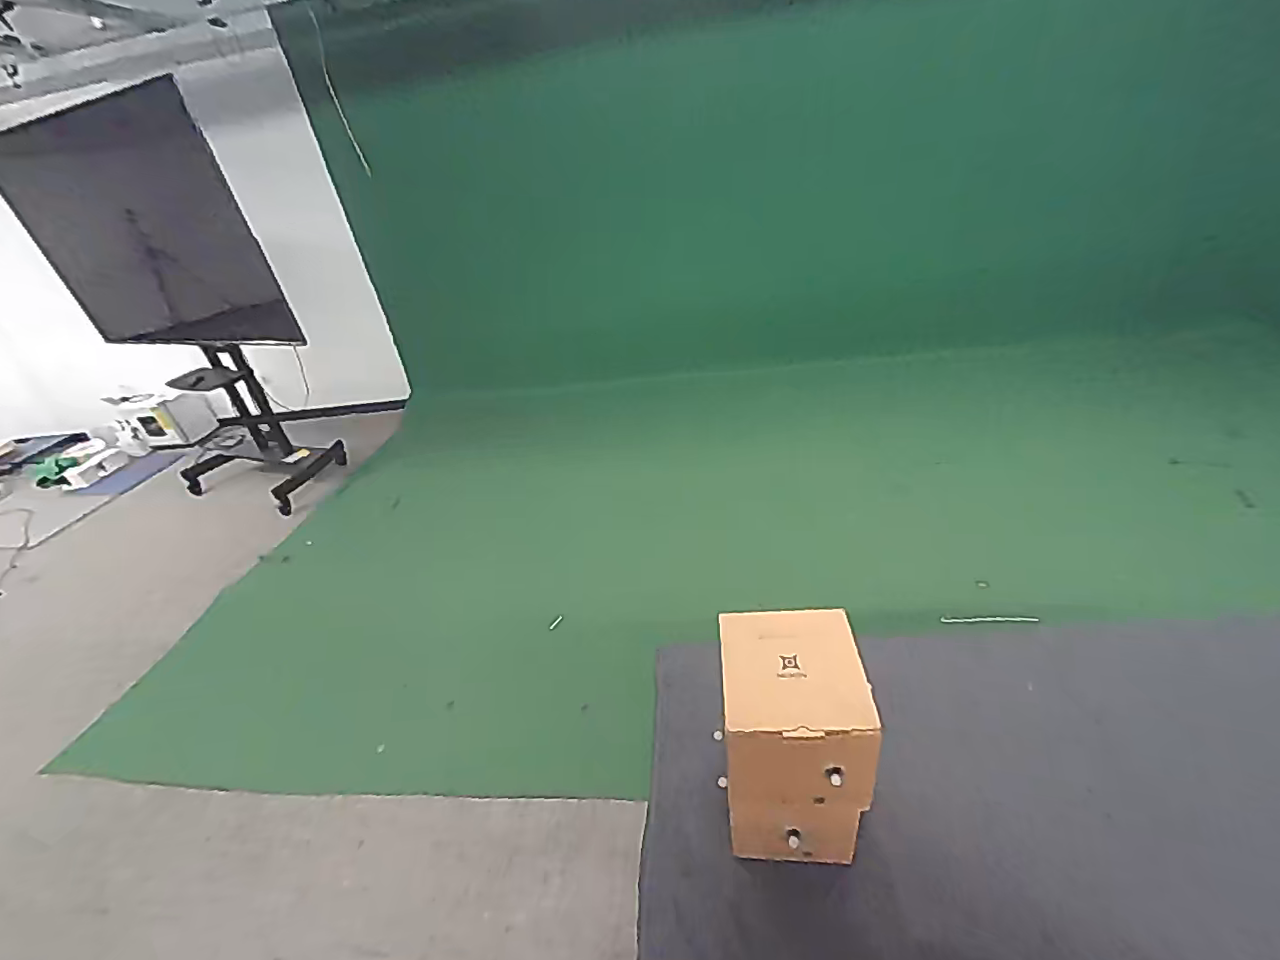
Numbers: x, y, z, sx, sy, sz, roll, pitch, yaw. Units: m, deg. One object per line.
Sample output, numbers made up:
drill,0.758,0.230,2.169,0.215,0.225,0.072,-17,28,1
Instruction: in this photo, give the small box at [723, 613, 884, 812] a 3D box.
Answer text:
small box,0.196,0.294,0.689,0.168,0.176,0.179,-3,31,7

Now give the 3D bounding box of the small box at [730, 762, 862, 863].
small box,0.218,0.423,0.786,0.168,0.176,0.179,-3,32,9
